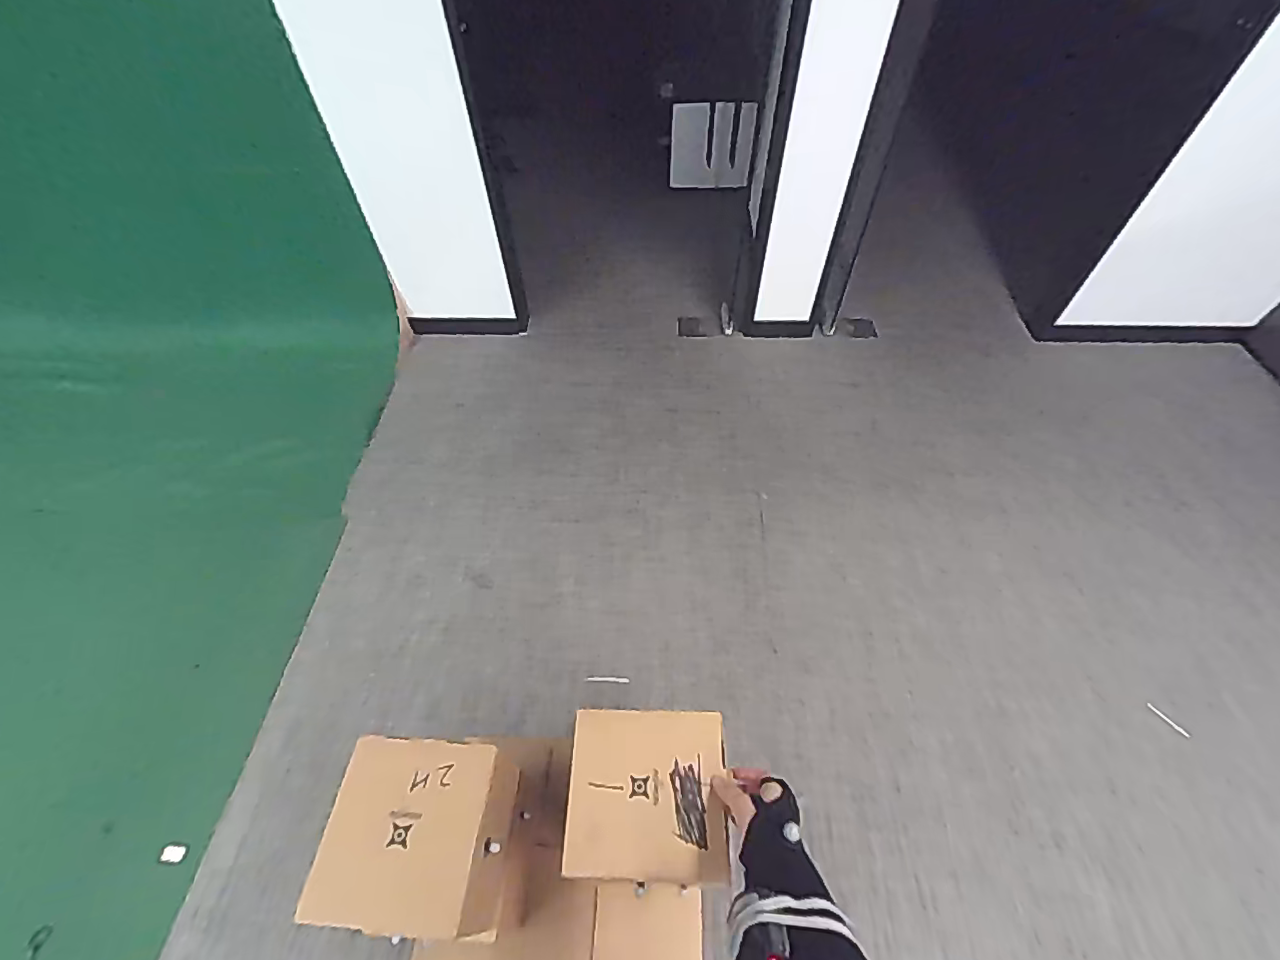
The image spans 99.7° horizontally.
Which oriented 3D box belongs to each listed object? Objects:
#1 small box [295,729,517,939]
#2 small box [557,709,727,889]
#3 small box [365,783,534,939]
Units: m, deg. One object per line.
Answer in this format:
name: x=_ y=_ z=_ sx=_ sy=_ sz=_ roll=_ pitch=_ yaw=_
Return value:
small box: x=-0.254 y=0.415 z=0.643 sx=0.168 sy=0.176 sz=0.179 roll=5 pitch=54 yaw=3
small box: x=0.008 y=0.390 z=0.661 sx=0.179 sy=0.176 sz=0.168 roll=1 pitch=53 yaw=4
small box: x=-0.254 y=0.525 z=0.767 sx=0.168 sy=0.176 sz=0.179 roll=3 pitch=53 yaw=2
